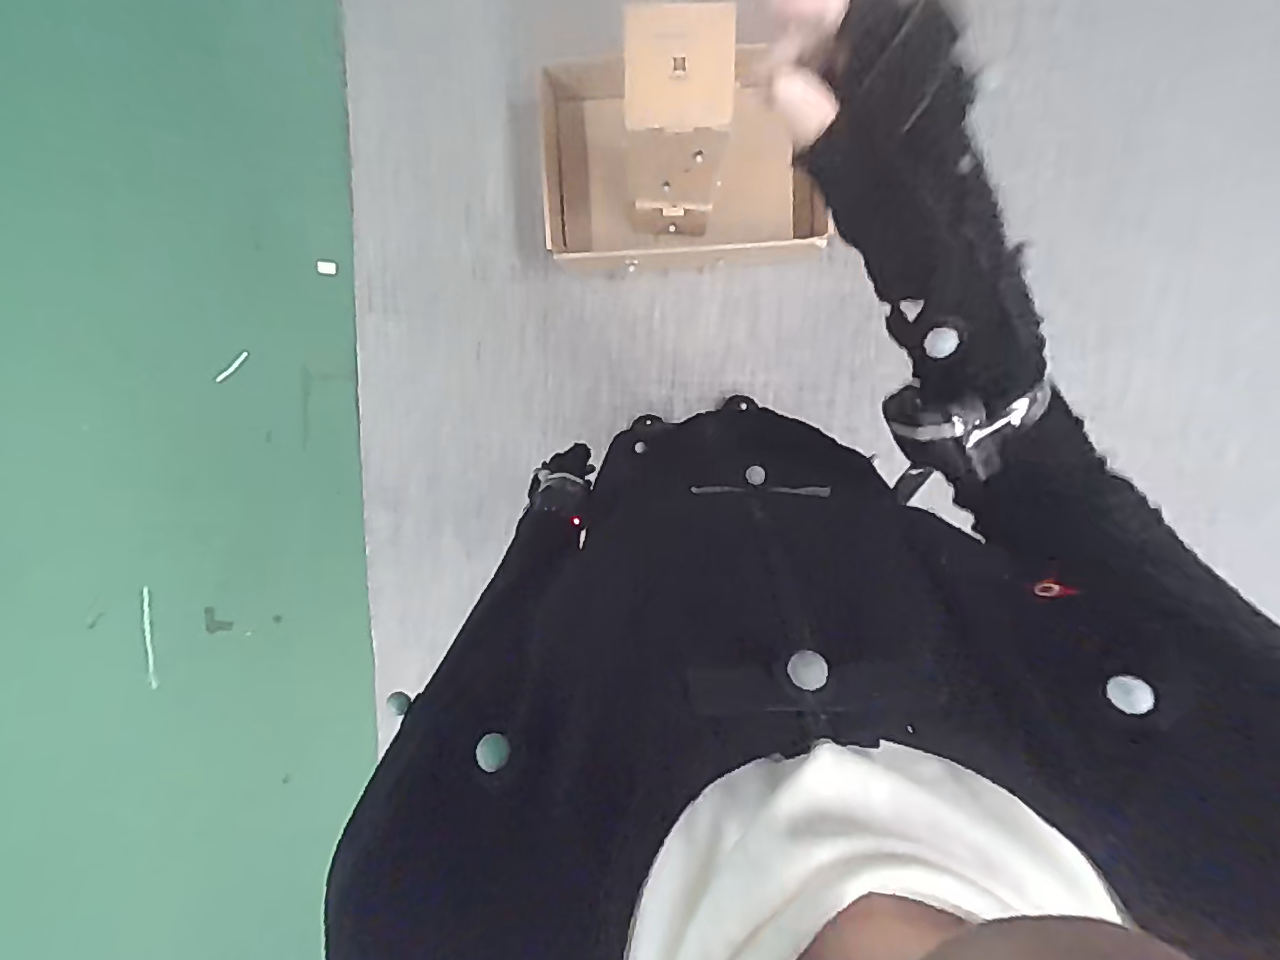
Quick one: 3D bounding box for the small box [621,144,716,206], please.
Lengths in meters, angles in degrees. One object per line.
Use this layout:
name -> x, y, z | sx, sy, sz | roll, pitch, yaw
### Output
small box -> 0.063, -0.650, 1.045 | 0.179, 0.176, 0.168 | 7, 97, 2

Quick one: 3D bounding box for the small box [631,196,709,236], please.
small box -> 0.072, -0.662, 1.210 | 0.168, 0.176, 0.179 | 4, 98, 1

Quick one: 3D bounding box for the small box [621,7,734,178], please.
small box -> 0.057, -0.620, 0.886 | 0.168, 0.176, 0.179 | 1, 96, 0
